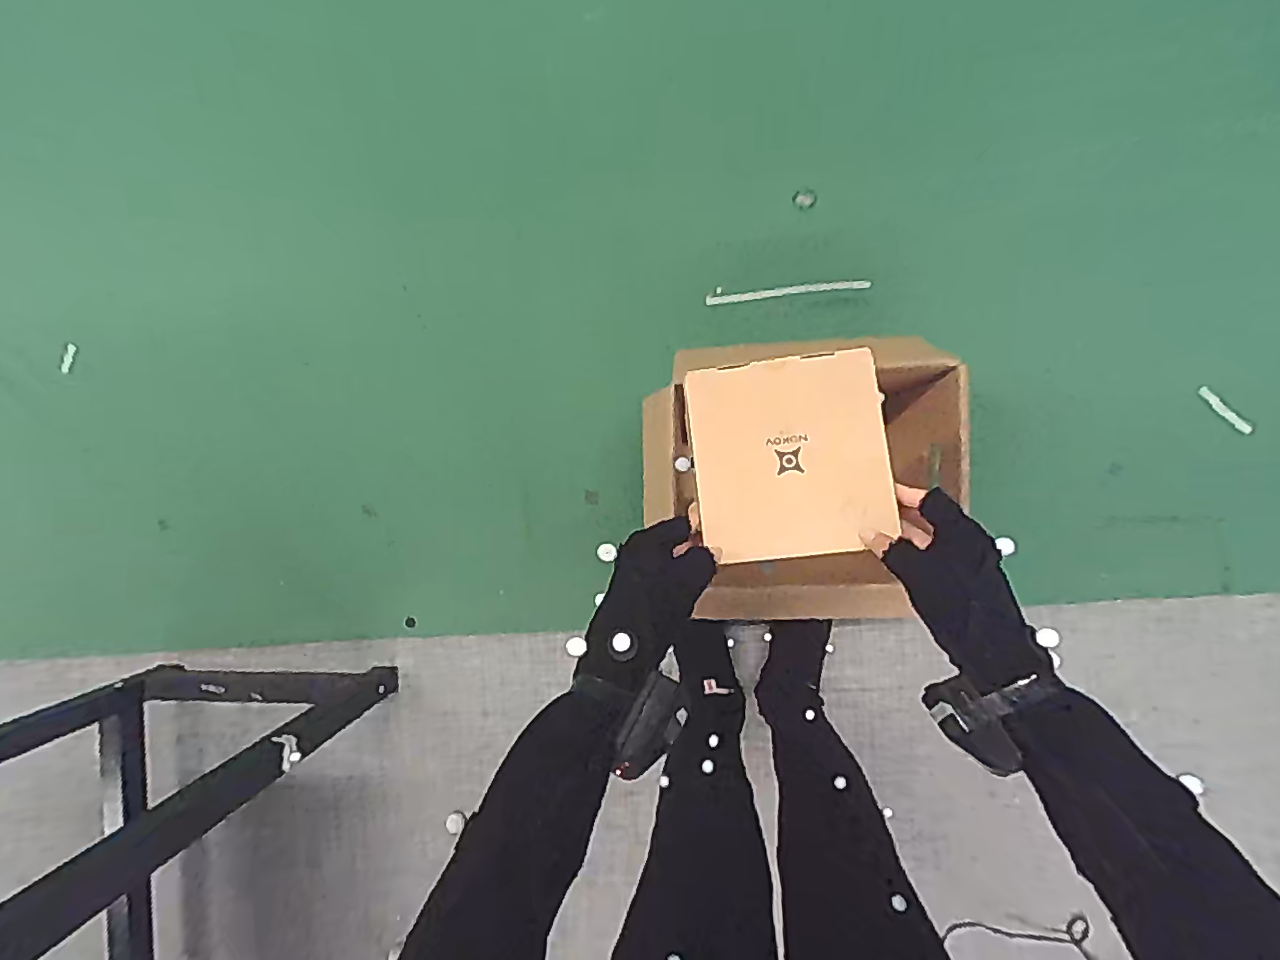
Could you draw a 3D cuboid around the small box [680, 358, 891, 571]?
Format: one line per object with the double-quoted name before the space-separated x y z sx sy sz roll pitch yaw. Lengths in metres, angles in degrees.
"small box" 0.136 -0.005 0.555 0.168 0.176 0.179 -7 81 6
